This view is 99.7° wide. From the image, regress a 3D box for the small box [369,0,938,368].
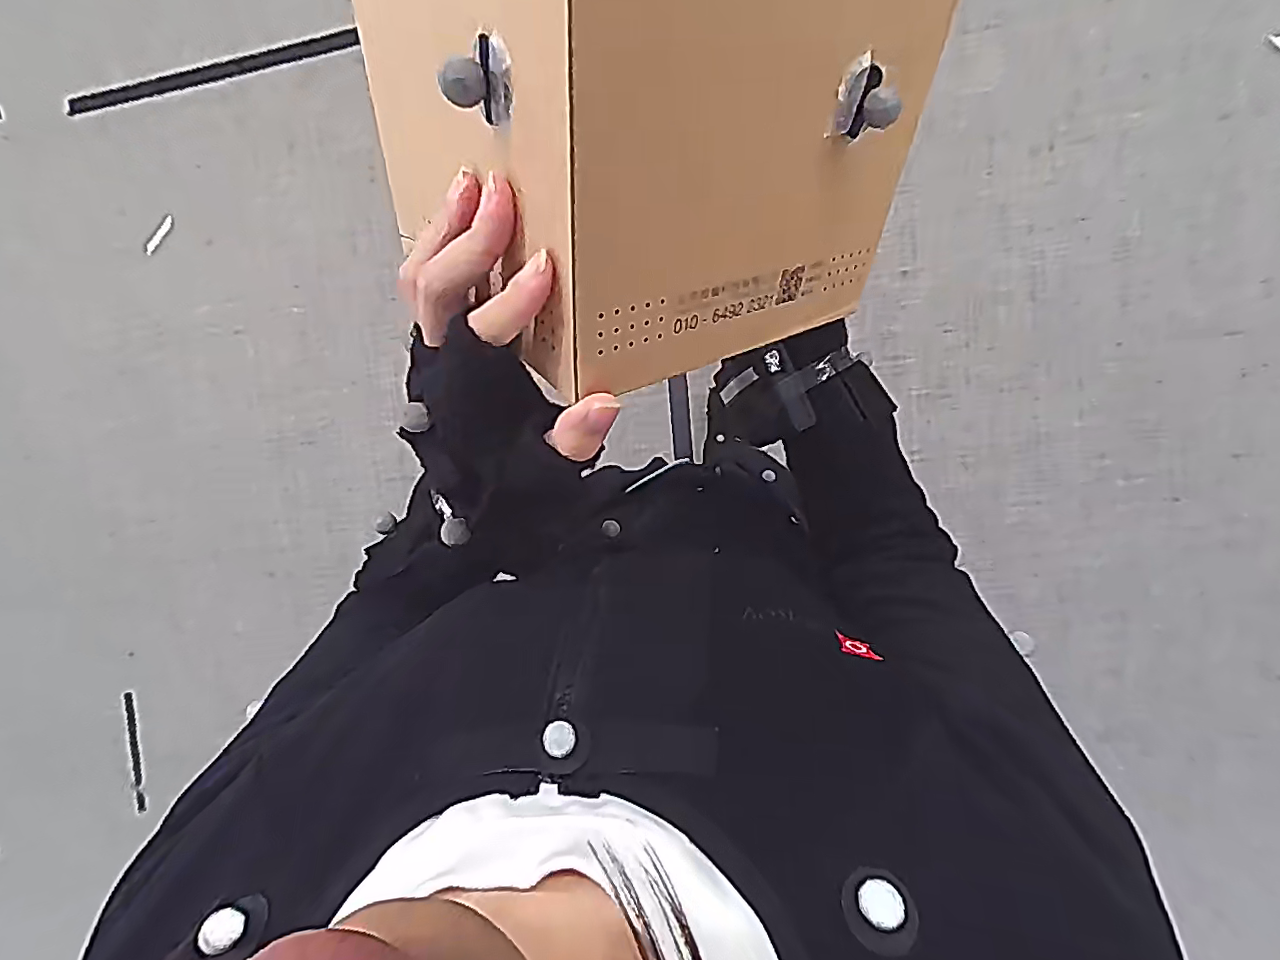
[{"bbox_3d":[0.001,-0.163,0.233,0.179,0.168,0.176,42,142,36],"label":"small box"}]
